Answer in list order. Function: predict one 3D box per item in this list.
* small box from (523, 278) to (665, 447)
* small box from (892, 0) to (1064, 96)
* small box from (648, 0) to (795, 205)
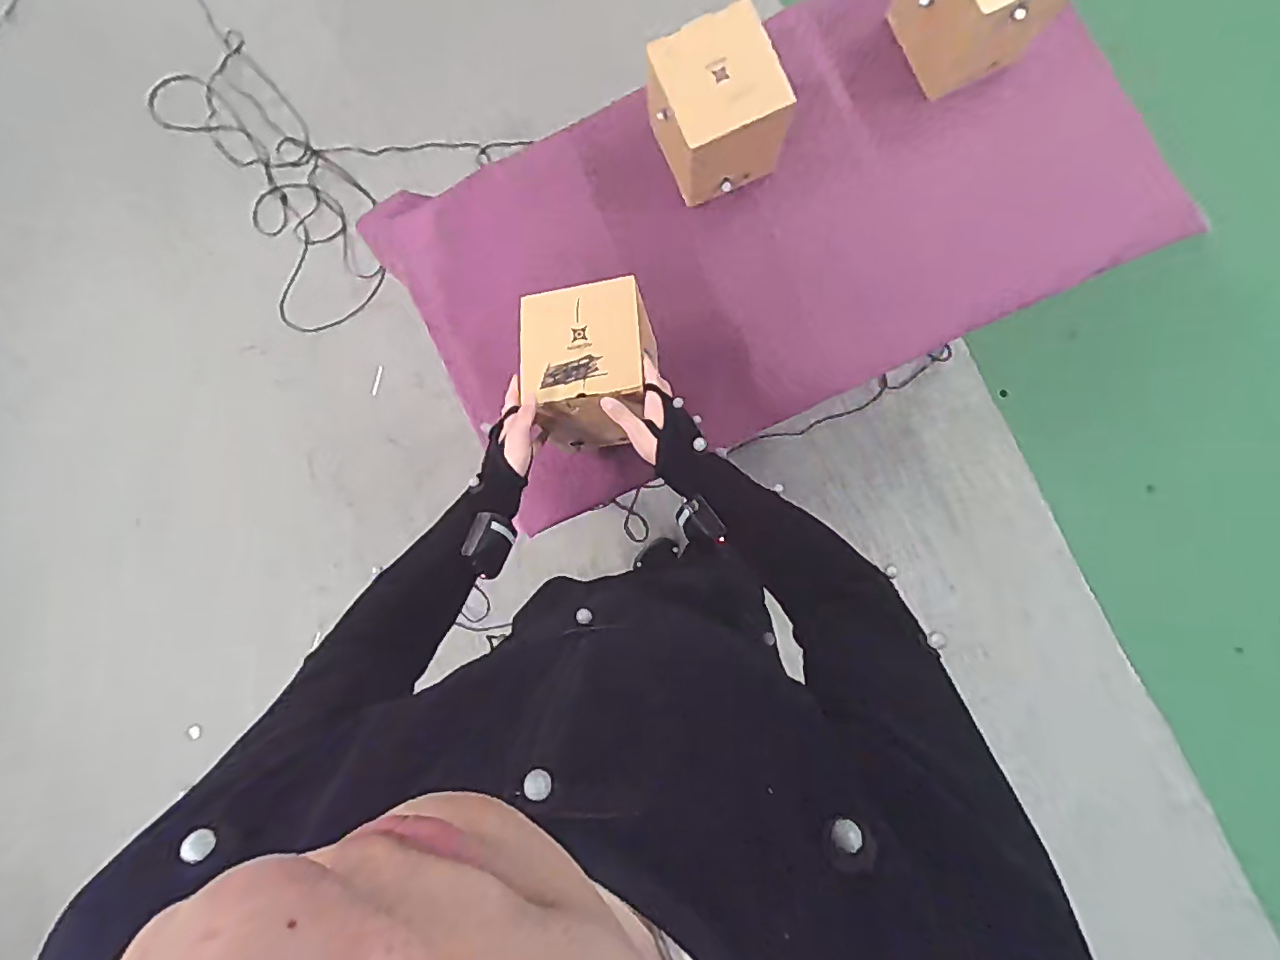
[{"bbox_3d":[-0.060,-0.158,0.789,0.168,0.176,0.179,-7,71,10],"label":"small box"},{"bbox_3d":[0.521,-0.753,0.831,0.168,0.176,0.179,-24,86,4],"label":"small box"},{"bbox_3d":[0.120,-0.582,0.855,0.168,0.176,0.179,-22,87,3],"label":"small box"}]
